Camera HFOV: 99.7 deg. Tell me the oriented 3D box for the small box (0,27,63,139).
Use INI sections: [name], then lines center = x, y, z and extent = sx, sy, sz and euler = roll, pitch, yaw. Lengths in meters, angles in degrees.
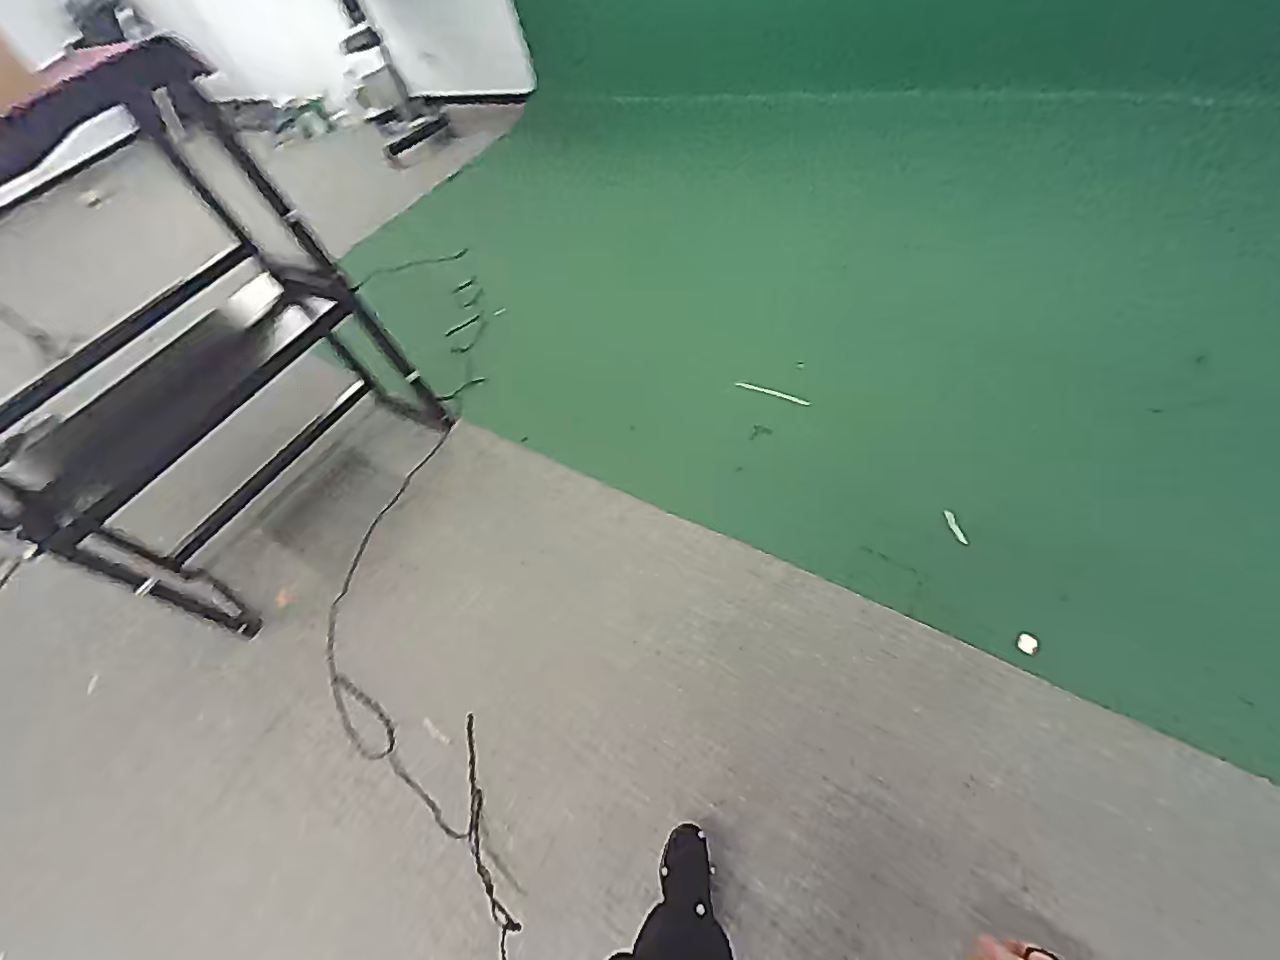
[small box]
center = -1.516, -0.930, 1.263
extent = 0.168, 0.176, 0.179
euler = 22, 64, 30
